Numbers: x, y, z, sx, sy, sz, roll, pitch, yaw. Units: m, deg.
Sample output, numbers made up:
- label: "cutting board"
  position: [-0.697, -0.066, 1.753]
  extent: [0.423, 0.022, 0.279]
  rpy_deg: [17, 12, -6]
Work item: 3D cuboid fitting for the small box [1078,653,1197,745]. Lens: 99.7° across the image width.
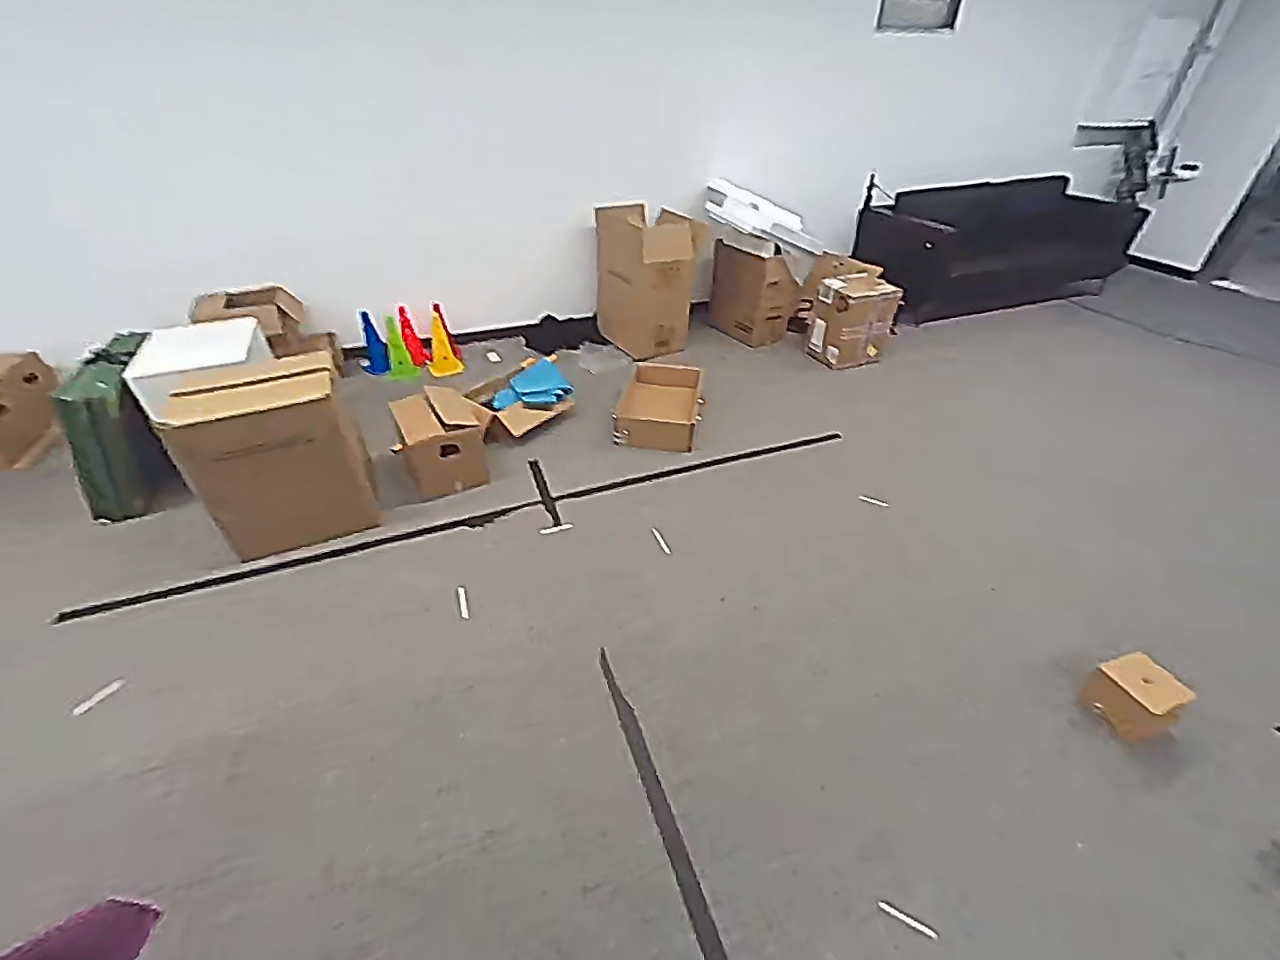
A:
- label: "small box"
  position: [1.465, 0.651, 1.608]
  extent: [0.179, 0.176, 0.168]
  rpy_deg: [-12, 37, -15]
